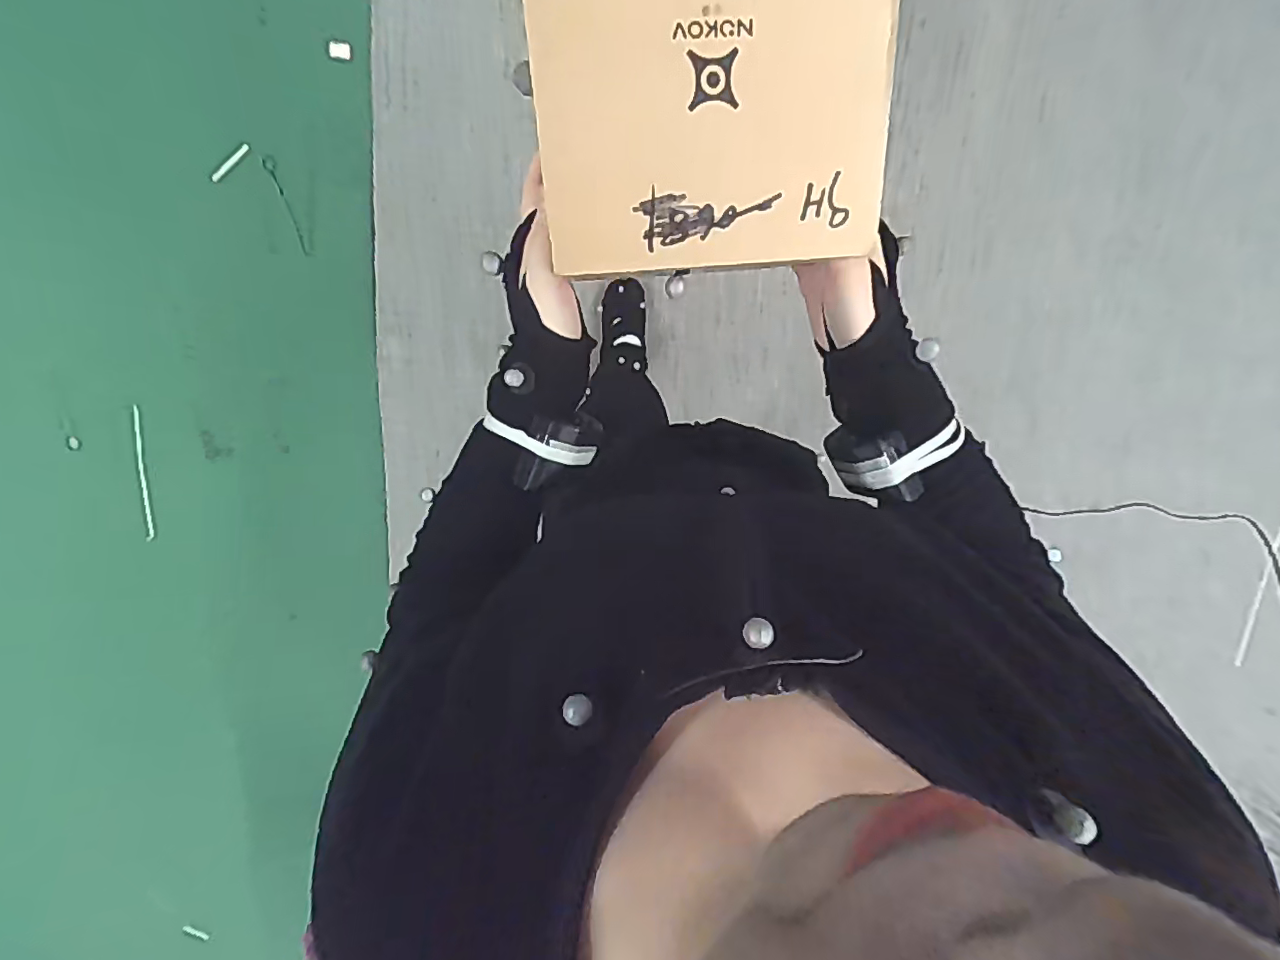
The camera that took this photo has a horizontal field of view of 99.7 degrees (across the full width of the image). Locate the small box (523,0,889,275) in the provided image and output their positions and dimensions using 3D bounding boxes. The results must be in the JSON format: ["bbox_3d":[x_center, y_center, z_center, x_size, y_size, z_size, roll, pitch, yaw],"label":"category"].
[{"bbox_3d":[0.023,-0.220,0.316,0.168,0.176,0.179,-5,109,-3],"label":"small box"}]
